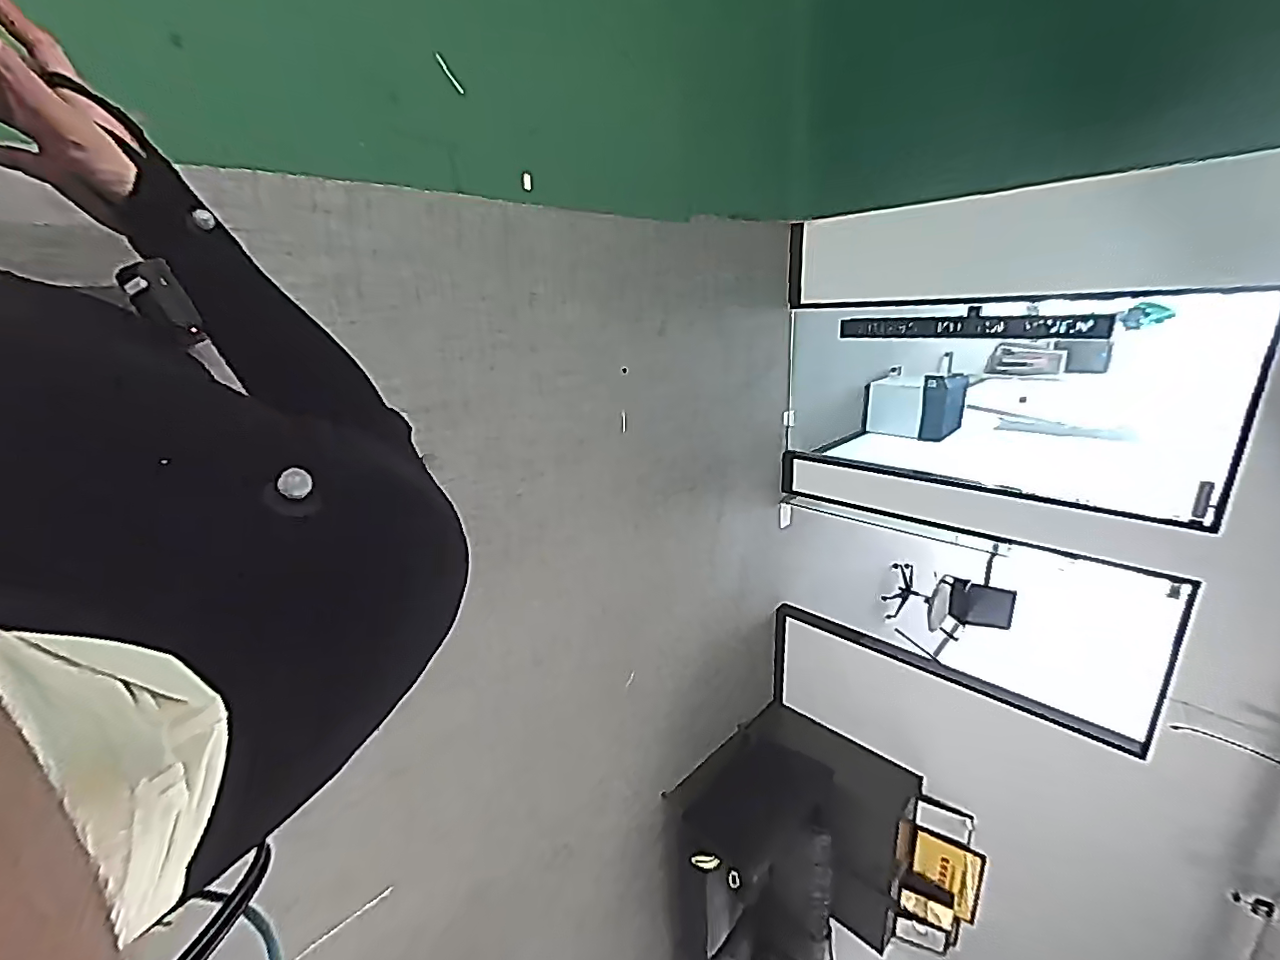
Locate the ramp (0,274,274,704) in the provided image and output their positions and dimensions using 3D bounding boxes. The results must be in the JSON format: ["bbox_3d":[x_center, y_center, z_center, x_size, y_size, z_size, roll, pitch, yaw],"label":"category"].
[{"bbox_3d":[-1.242,0.047,1.270,0.509,0.206,0.991,-23,118,-41],"label":"ramp"}]
